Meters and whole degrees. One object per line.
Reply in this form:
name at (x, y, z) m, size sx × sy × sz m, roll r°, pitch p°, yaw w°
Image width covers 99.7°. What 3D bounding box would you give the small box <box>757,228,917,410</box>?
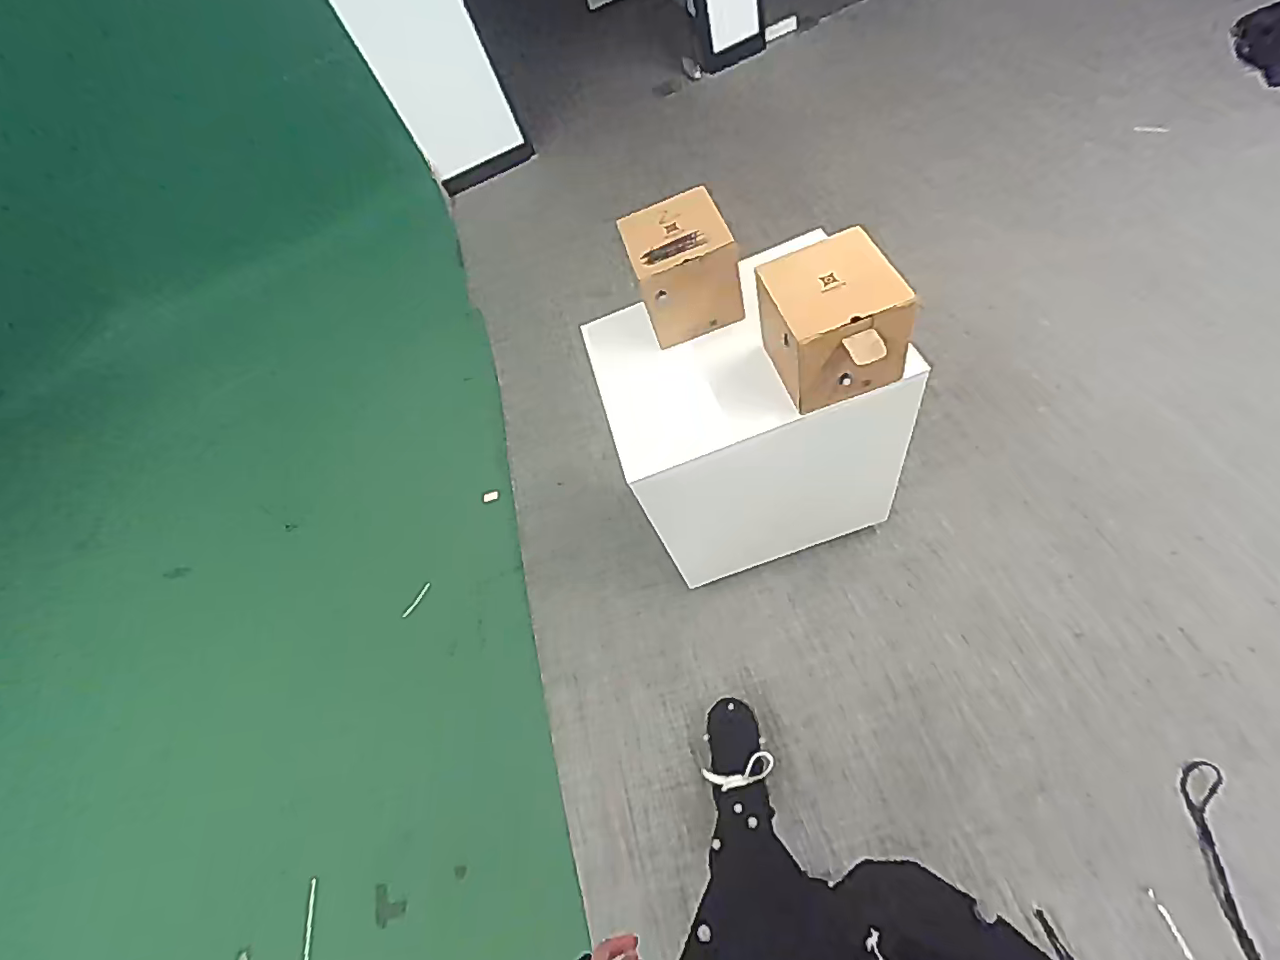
small box at (0.288, -0.239, 0.825) m, size 0.168 × 0.176 × 0.179 m, roll -20°, pitch 57°, yaw 6°
